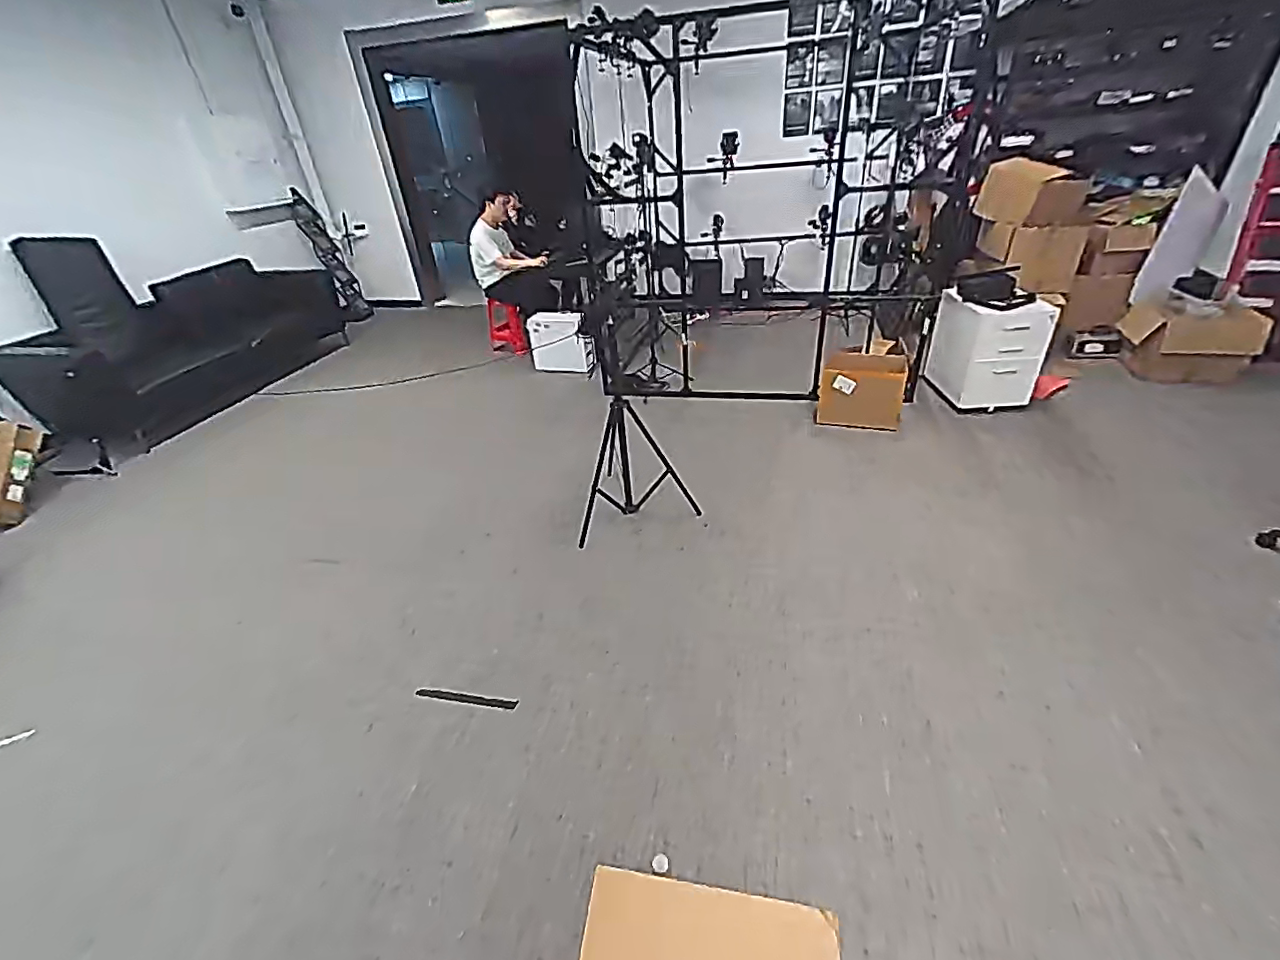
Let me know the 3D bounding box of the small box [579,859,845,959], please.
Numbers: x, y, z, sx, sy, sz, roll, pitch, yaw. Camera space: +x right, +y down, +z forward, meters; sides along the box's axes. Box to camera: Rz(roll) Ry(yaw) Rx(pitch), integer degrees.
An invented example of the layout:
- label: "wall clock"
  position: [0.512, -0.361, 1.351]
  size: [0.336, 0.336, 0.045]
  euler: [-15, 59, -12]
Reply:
- label: "small box"
  position: [0.045, 0.400, 0.394]
  size: [0.179, 0.176, 0.168]
  euler: [6, 51, 8]
